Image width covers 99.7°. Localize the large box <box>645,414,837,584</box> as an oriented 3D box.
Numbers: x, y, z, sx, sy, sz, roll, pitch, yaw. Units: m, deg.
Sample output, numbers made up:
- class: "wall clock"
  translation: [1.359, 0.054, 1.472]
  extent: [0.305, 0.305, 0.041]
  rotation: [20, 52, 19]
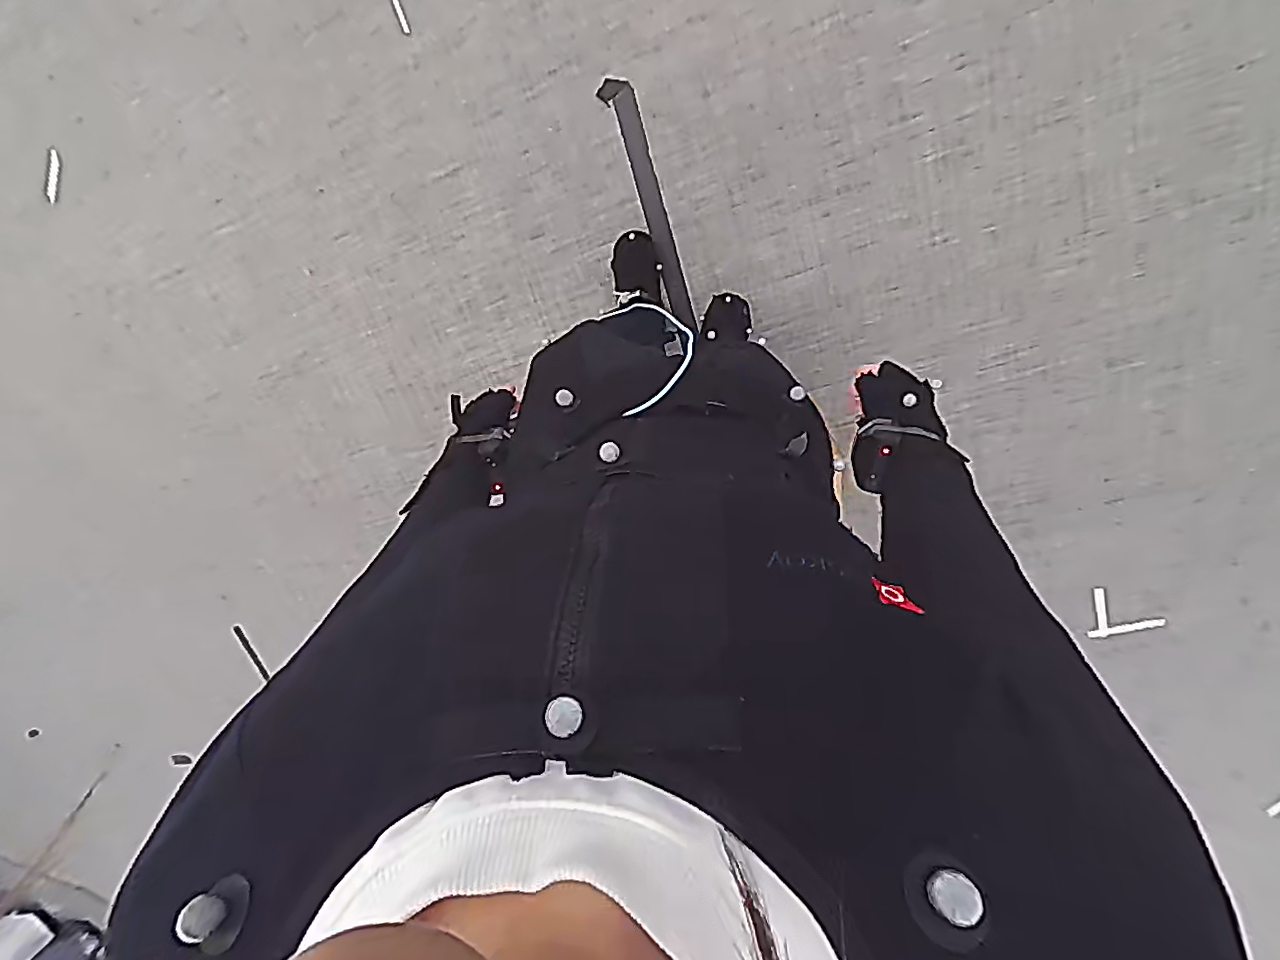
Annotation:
- class: "large box"
  translation: [0.240, 0.035, 1.317]
  extent: [0.408, 0.320, 0.320]
  rotation: [-3, 112, 9]
